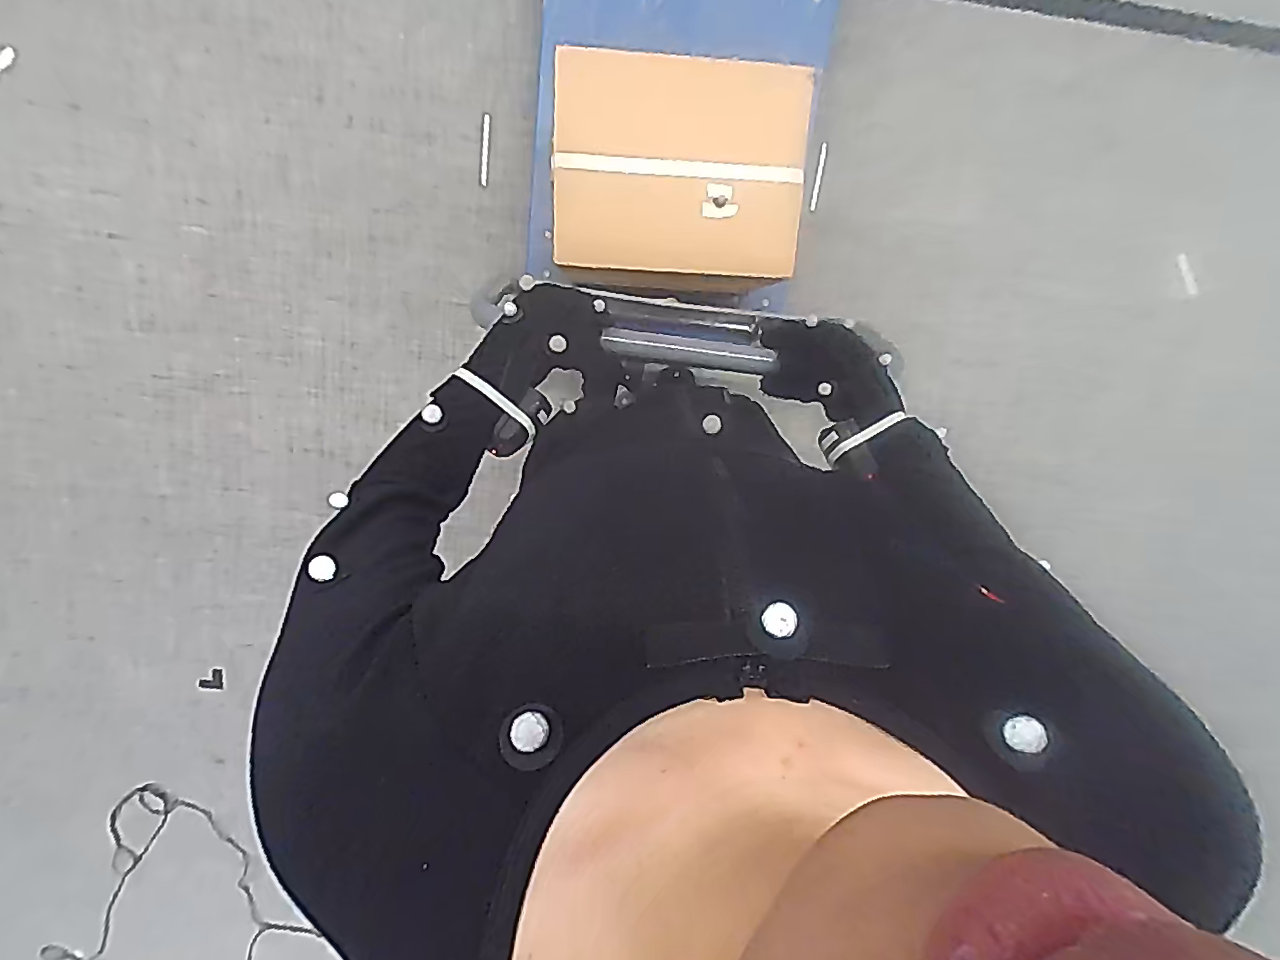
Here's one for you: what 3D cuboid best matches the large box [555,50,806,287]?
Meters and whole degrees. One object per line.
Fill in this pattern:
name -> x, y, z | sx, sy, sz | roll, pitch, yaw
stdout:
large box -> 0.052, -0.549, 1.026 | 0.408, 0.320, 0.320 | 1, 105, -4
